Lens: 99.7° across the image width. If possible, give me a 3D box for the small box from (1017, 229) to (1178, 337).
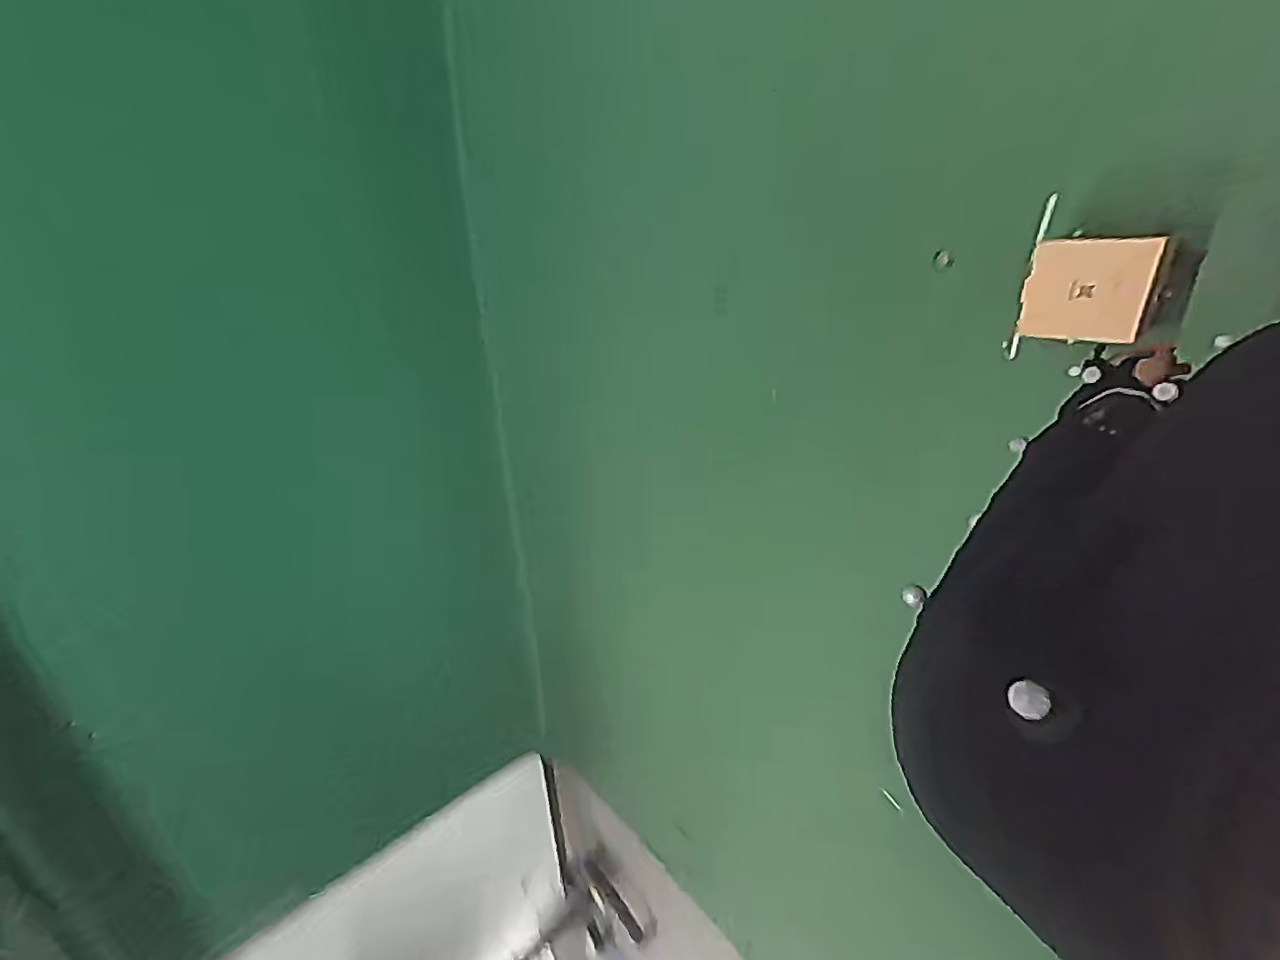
[{"bbox_3d":[0.825,-0.360,0.979,0.179,0.176,0.168,20,123,43],"label":"small box"}]
